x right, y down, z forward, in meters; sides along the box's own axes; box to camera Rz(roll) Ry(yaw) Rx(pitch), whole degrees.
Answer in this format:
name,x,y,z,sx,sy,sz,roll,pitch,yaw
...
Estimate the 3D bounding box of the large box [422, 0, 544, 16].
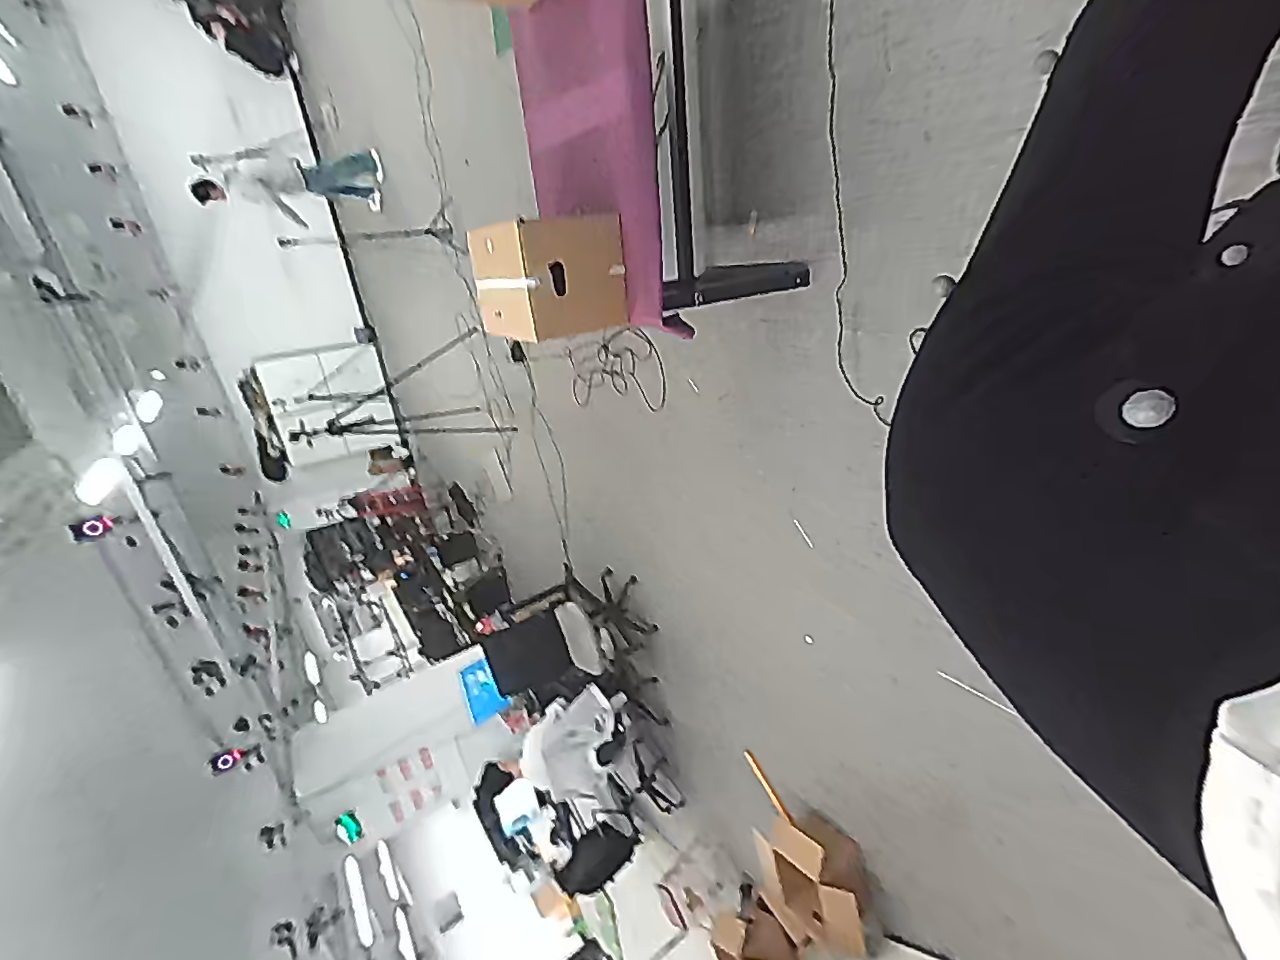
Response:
name,x,y,z,sx,sy,sz,roll,pitch,yaw
large box,-0.351,-1.383,1.285,0.408,0.320,0.320,26,130,49
